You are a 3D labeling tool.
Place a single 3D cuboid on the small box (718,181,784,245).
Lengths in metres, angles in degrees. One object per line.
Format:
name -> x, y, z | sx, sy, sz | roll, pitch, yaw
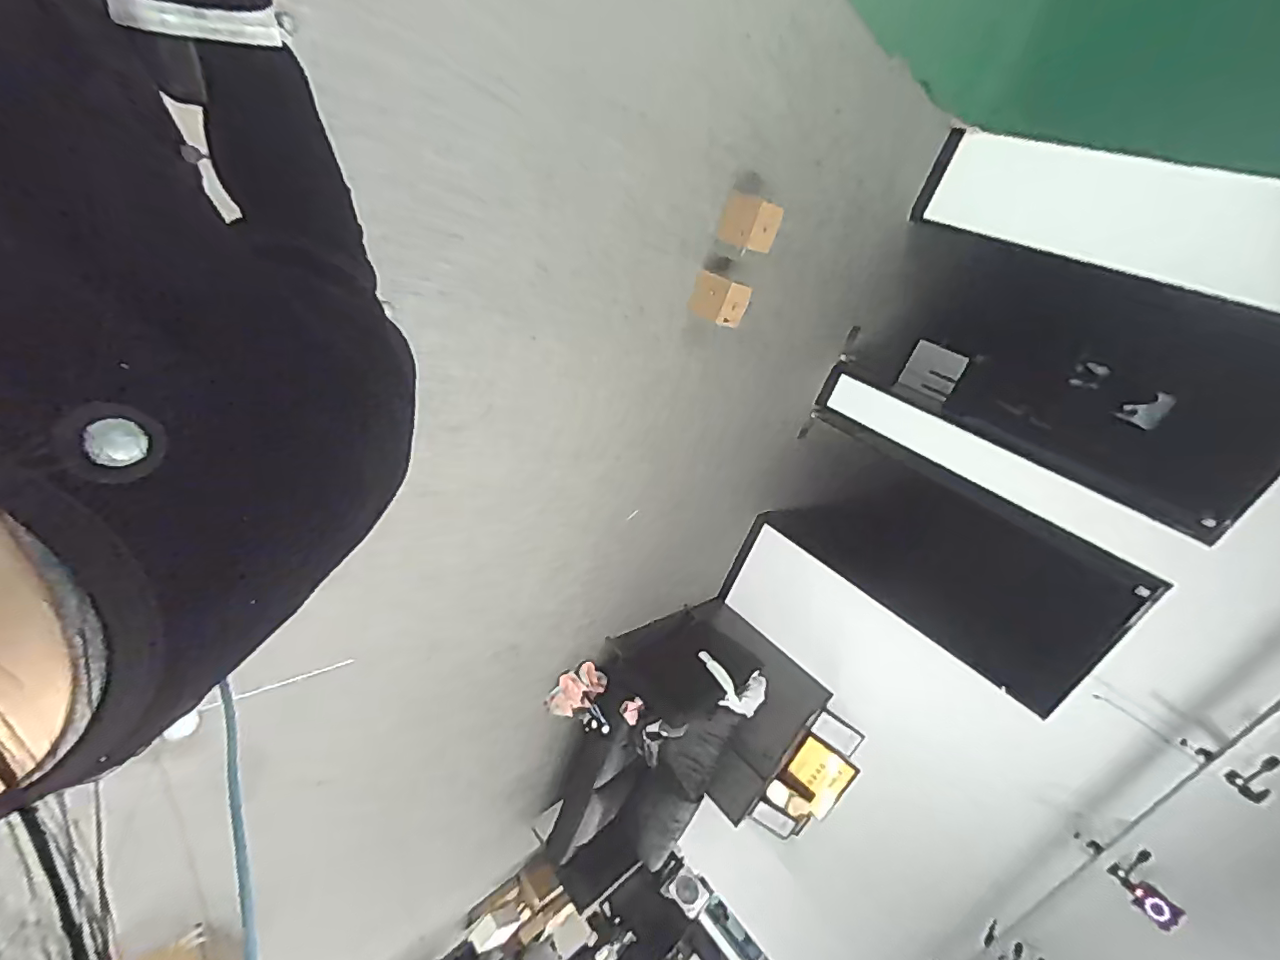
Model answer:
small box -> 0.431, -1.052, 2.131 | 0.168, 0.176, 0.179 | -12, 129, -45
